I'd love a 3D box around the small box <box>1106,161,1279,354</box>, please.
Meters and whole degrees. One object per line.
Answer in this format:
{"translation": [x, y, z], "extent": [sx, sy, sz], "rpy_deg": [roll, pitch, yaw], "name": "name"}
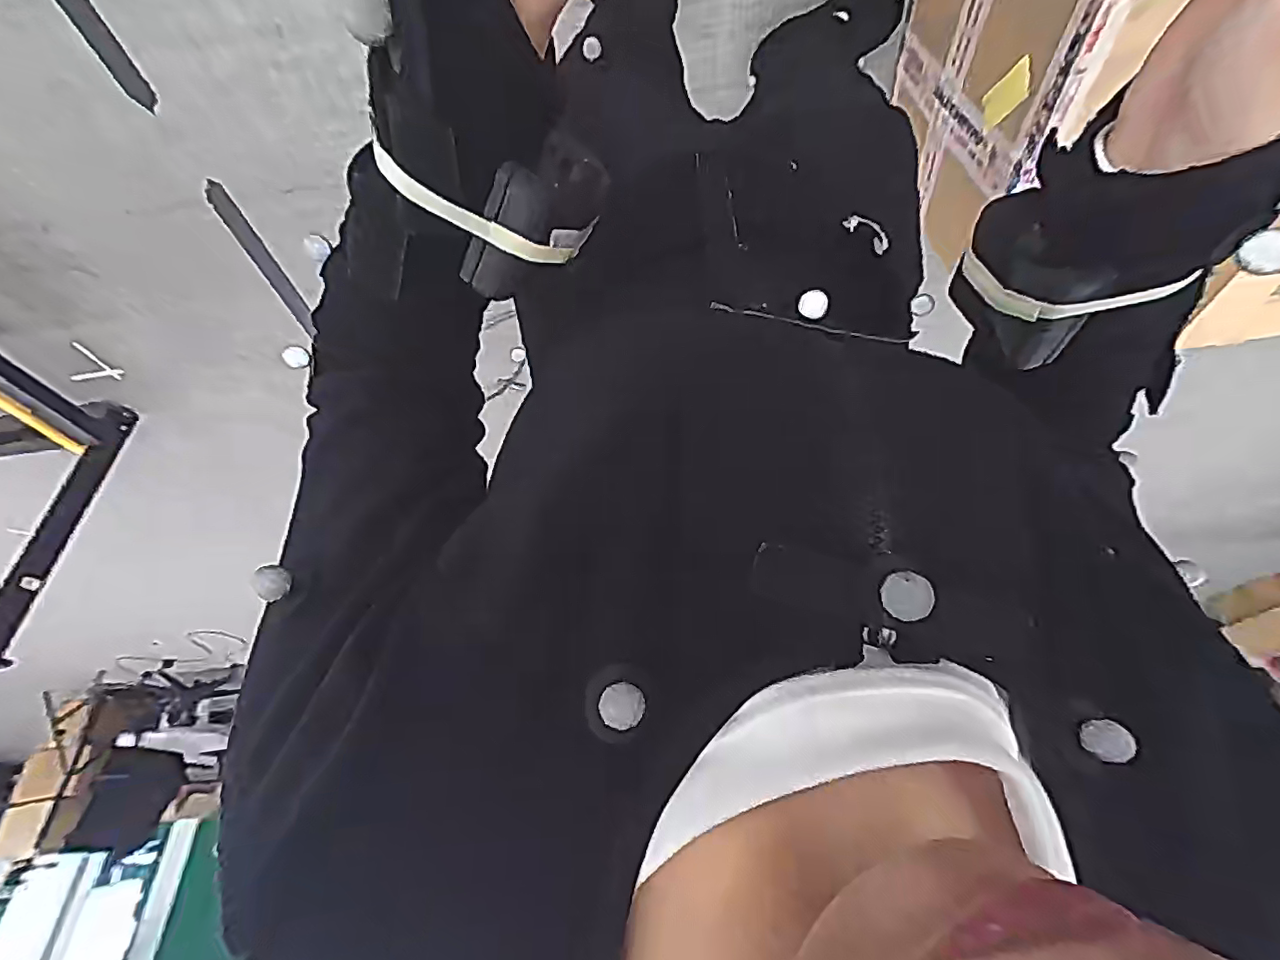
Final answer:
{"translation": [0.796, -0.303, 0.735], "extent": [0.168, 0.176, 0.179], "rpy_deg": [-7, 148, 7], "name": "small box"}
